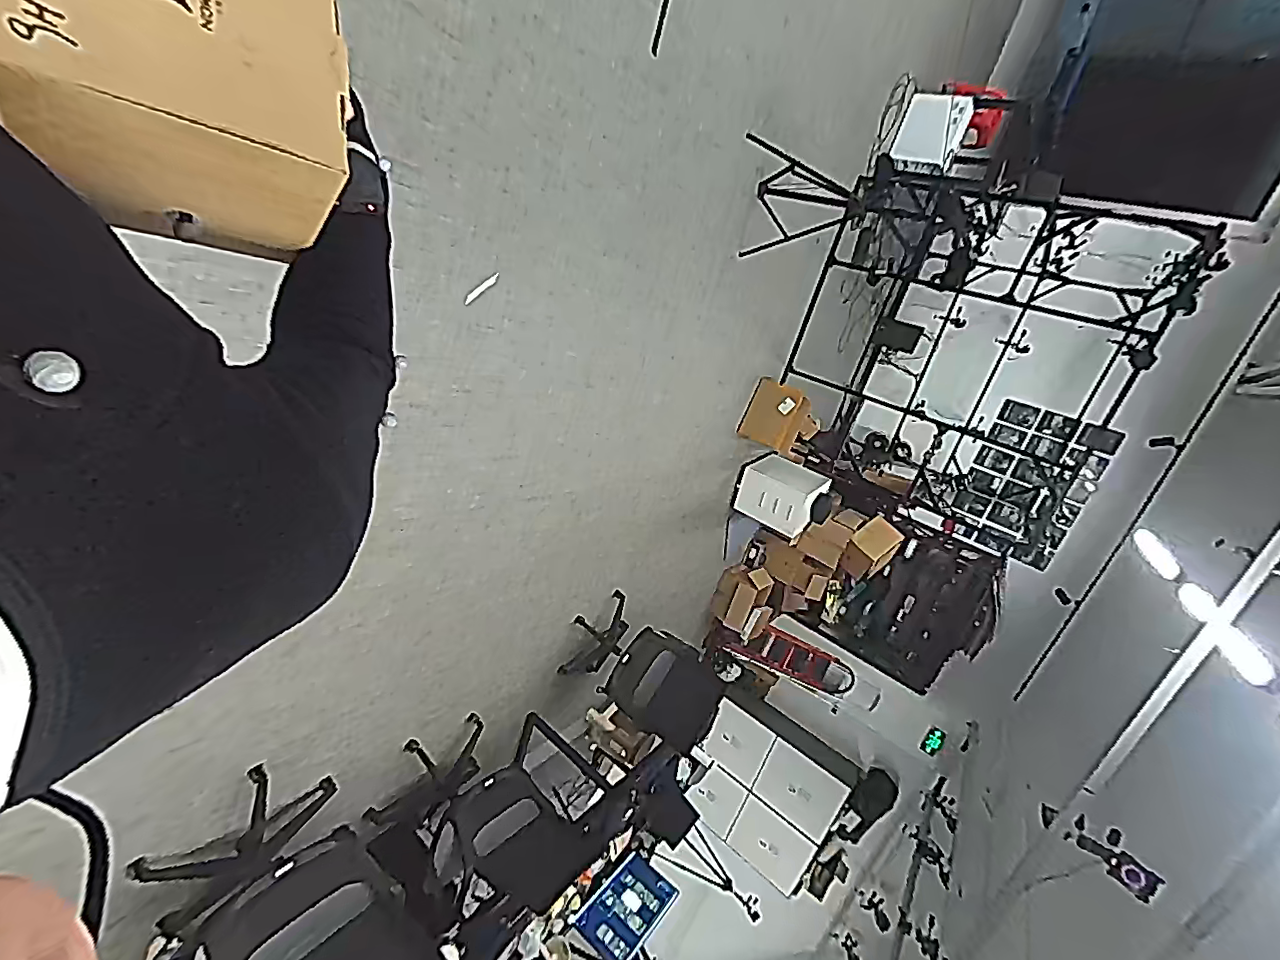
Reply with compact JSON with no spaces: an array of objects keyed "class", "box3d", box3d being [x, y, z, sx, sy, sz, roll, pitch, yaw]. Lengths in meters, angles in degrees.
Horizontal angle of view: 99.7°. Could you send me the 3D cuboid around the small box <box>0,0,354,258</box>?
[{"class":"small box","box3d":[-0.340,-0.292,0.410,0.179,0.176,0.168,-2,84,-43]}]
